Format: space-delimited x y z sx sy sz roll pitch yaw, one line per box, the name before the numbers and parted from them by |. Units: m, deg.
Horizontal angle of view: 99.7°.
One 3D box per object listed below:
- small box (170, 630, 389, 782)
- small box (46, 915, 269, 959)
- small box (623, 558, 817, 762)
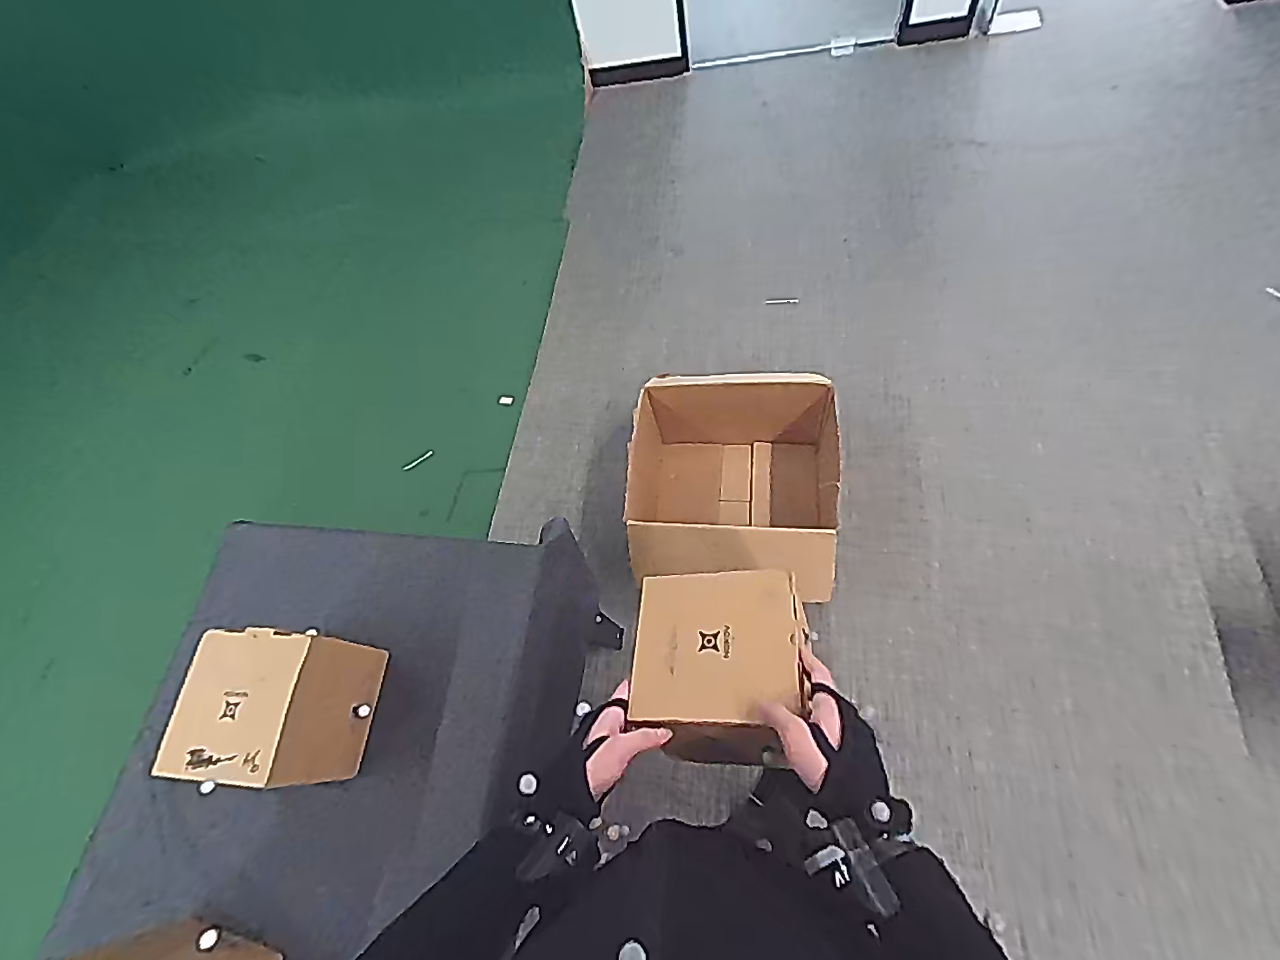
small box | -0.484 0.316 0.761 0.168 0.176 0.179 -2 65 9
small box | -0.566 0.634 0.599 0.168 0.176 0.179 10 67 14
small box | 0.099 0.207 0.608 0.179 0.176 0.168 -9 48 19
